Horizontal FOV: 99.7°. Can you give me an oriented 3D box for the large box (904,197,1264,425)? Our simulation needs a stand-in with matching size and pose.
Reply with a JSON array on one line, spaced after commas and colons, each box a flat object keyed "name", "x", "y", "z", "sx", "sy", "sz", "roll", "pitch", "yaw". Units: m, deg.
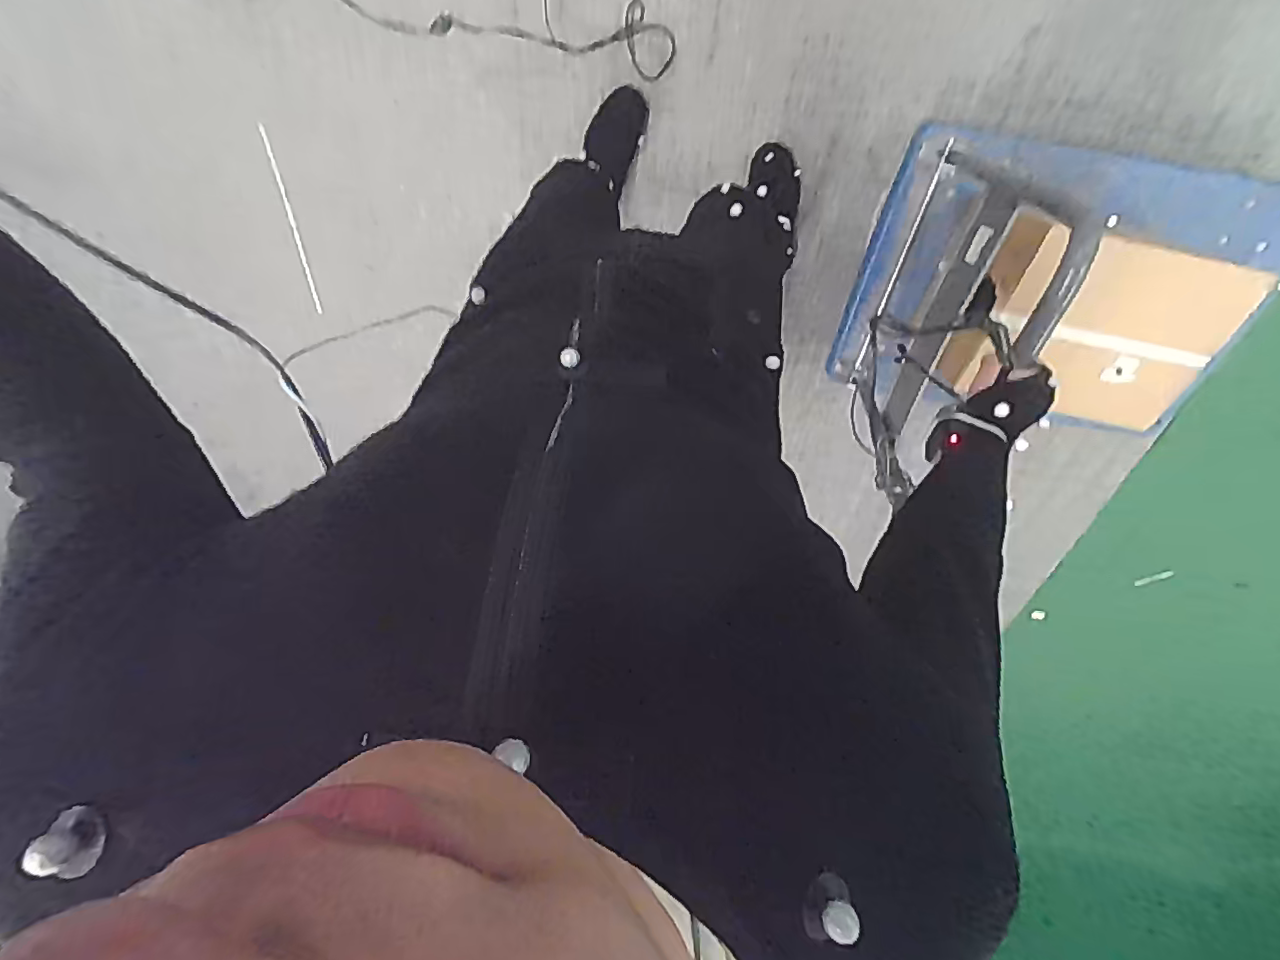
[{"name": "large box", "x": 0.839, "y": -0.353, "z": 1.106, "sx": 0.408, "sy": 0.320, "sz": 0.320, "roll": 12, "pitch": 128, "yaw": -3}]
